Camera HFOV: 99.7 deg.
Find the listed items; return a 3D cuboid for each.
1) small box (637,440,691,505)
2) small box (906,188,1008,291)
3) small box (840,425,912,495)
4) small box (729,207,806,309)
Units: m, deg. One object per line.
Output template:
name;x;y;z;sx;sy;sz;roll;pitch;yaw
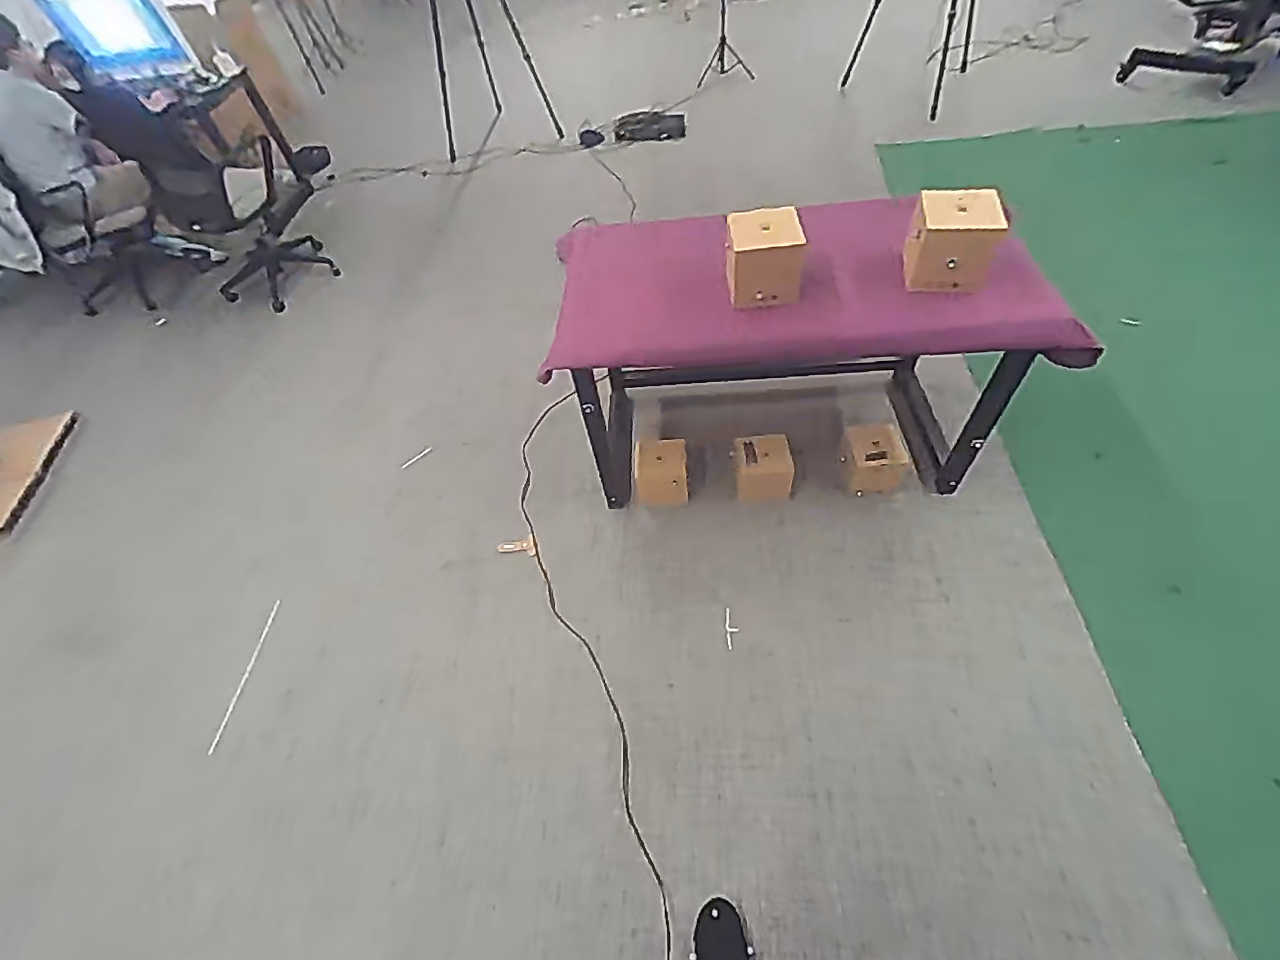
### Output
small box;0.087;-0.023;1.908;0.179;0.176;0.168;-3;53;6
small box;0.755;-0.576;1.306;0.168;0.176;0.179;6;55;13
small box;0.790;-0.061;1.828;0.168;0.176;0.179;-4;52;5
small box;0.312;-0.555;1.359;0.168;0.176;0.179;-4;54;6
